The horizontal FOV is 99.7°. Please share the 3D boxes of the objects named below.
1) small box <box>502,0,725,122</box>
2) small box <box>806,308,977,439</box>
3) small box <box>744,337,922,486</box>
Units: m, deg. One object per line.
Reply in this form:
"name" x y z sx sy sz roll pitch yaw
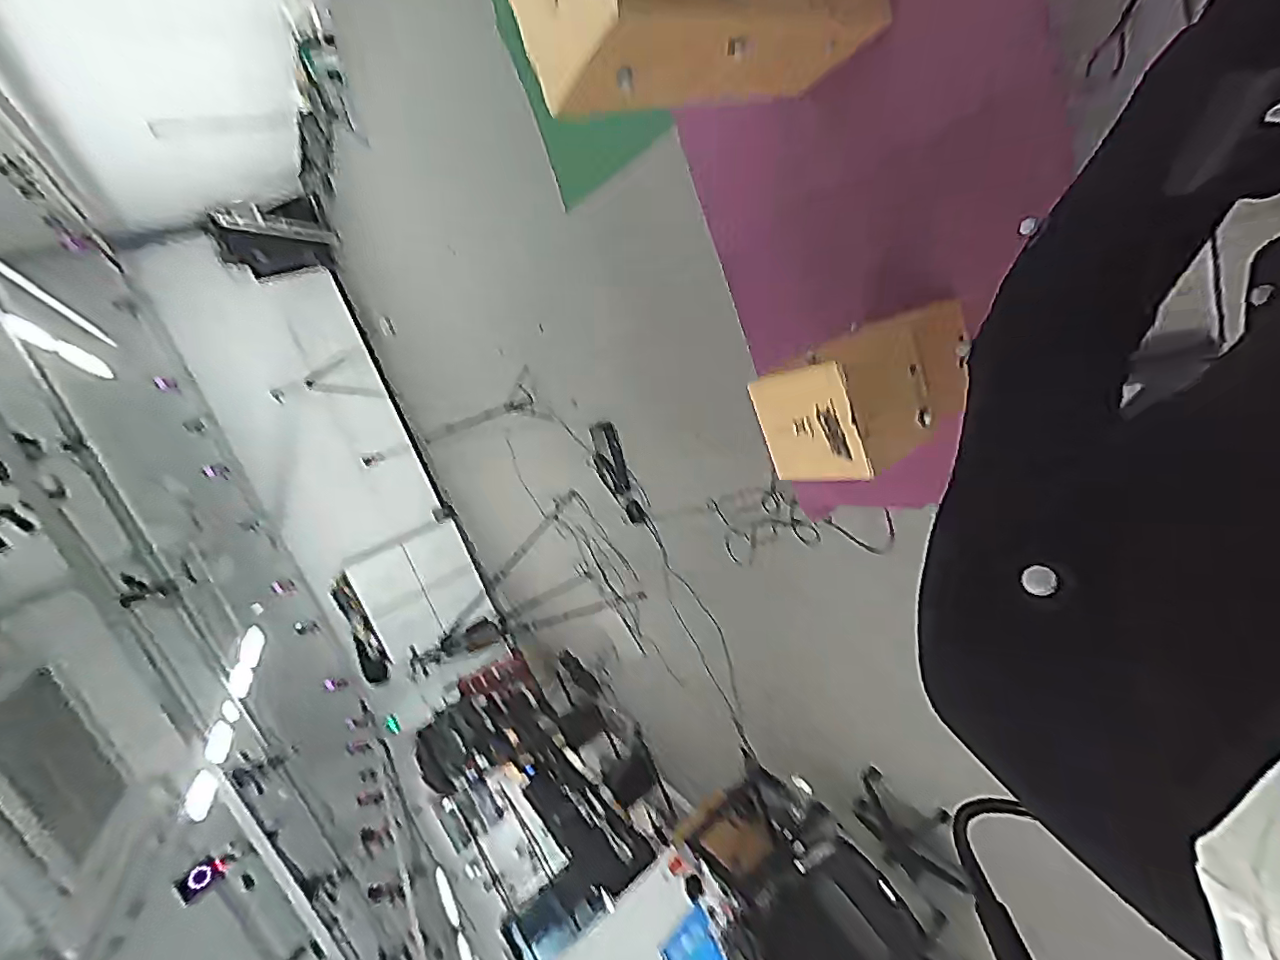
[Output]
"small box" -0.034 -0.549 0.618 0.179 0.176 0.168 -3 113 60
"small box" 0.416 -0.168 0.898 0.179 0.176 0.168 -2 112 58
"small box" 0.294 -0.099 0.812 0.179 0.176 0.168 -1 114 60
